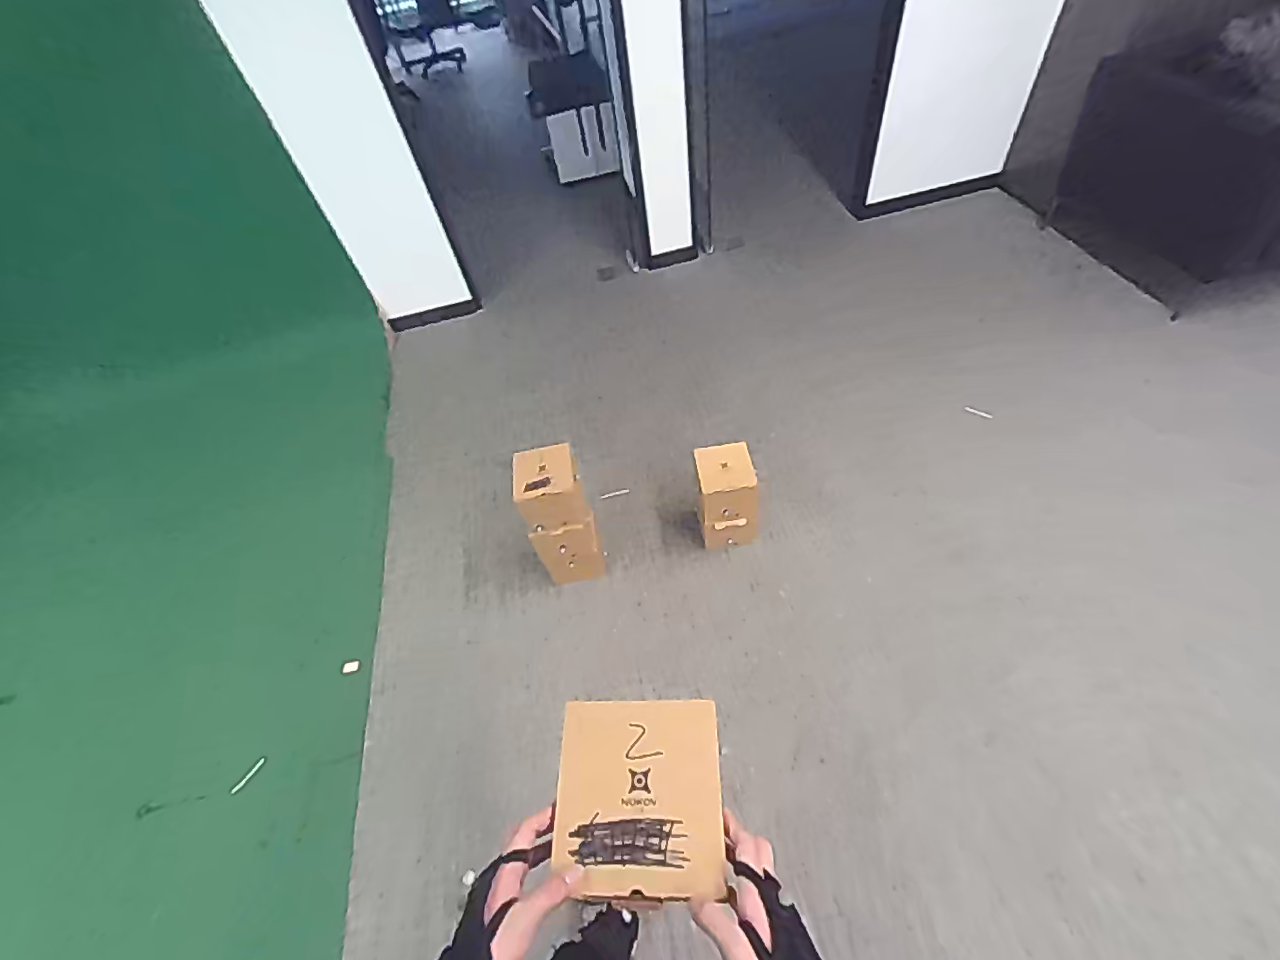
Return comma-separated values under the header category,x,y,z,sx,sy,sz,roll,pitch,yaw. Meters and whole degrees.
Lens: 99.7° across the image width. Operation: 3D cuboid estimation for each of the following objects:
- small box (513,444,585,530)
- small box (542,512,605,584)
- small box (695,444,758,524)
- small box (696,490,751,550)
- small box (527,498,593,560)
category,x,y,z,sx,sy,sz,roll,pitch,yaw
small box,-0.258,0.027,1.548,0.168,0.176,0.179,-11,52,0
small box,-0.221,0.230,1.803,0.179,0.176,0.168,-10,52,1
small box,0.264,0.015,1.687,0.168,0.176,0.179,-9,52,1
small box,0.277,0.116,1.810,0.168,0.176,0.179,-6,53,7
small box,-0.246,0.135,1.673,0.168,0.176,0.179,-10,53,1
